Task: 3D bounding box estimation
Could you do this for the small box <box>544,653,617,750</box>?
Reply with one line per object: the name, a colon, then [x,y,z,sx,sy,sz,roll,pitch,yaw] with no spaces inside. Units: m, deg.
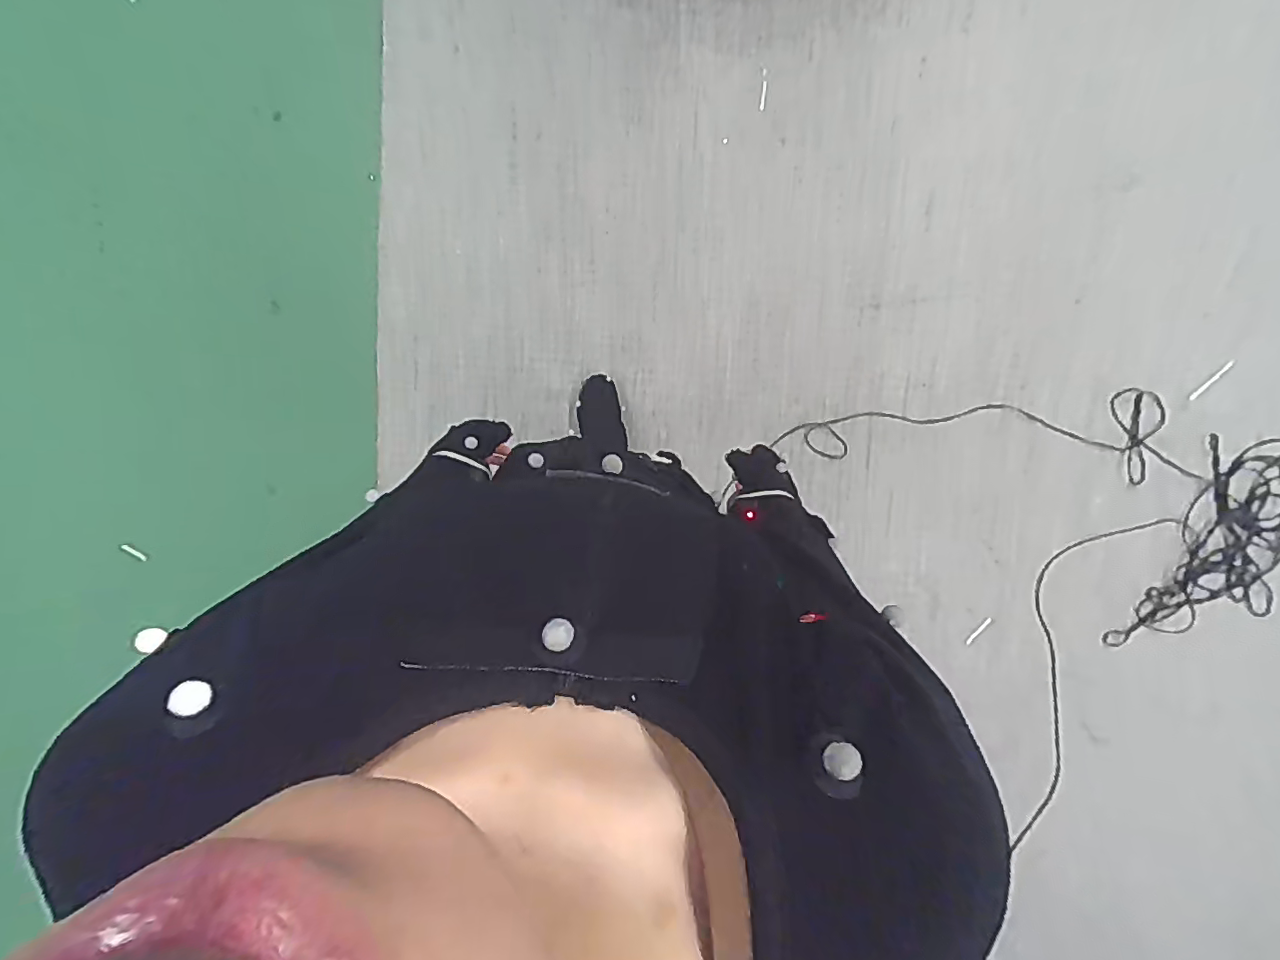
small box: [-0.151,0.580,1.432,0.168,0.176,0.179,4,93,2]
